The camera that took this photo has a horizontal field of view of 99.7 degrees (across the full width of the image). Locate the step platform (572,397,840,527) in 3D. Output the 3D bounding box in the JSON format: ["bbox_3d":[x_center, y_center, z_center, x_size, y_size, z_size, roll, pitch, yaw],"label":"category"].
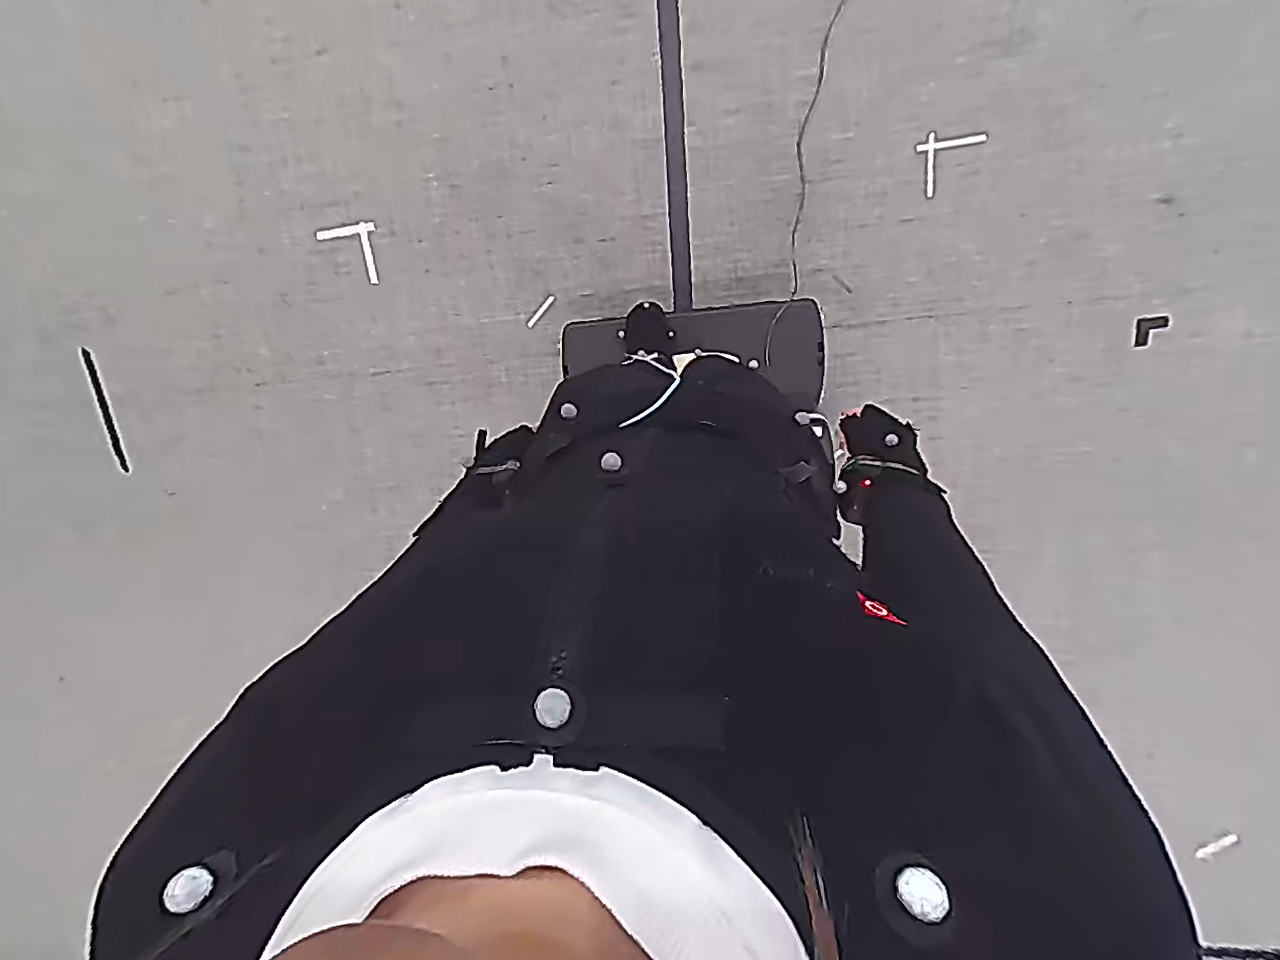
[{"bbox_3d":[0.166,-0.044,1.432,0.684,0.204,0.286,-4,103,9],"label":"step platform"}]
